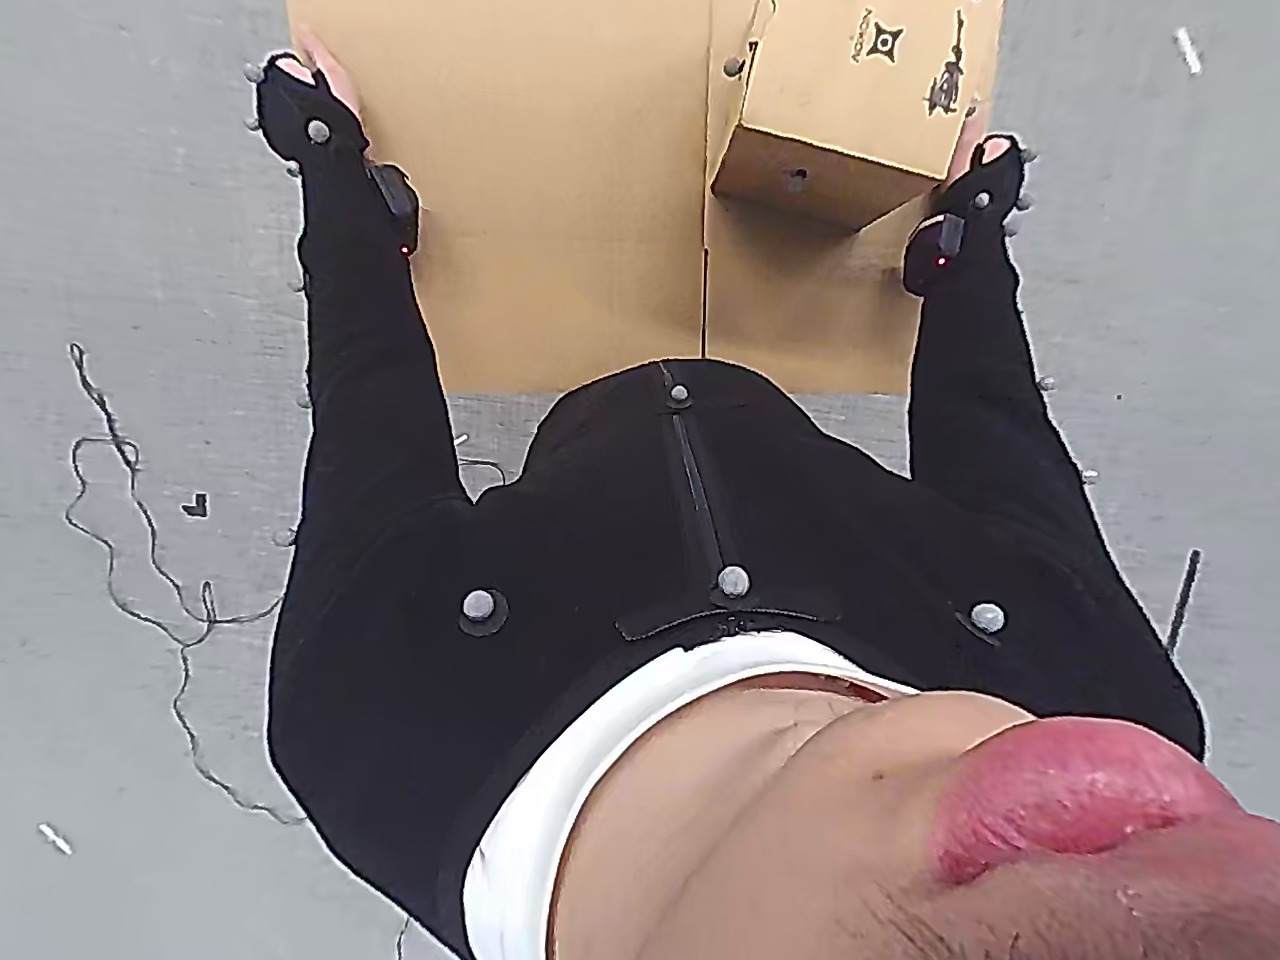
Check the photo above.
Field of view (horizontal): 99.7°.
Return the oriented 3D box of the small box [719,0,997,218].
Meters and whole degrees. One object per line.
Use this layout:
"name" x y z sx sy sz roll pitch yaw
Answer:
"small box" 0.181 -0.362 0.497 0.179 0.176 0.168 13 102 -2
